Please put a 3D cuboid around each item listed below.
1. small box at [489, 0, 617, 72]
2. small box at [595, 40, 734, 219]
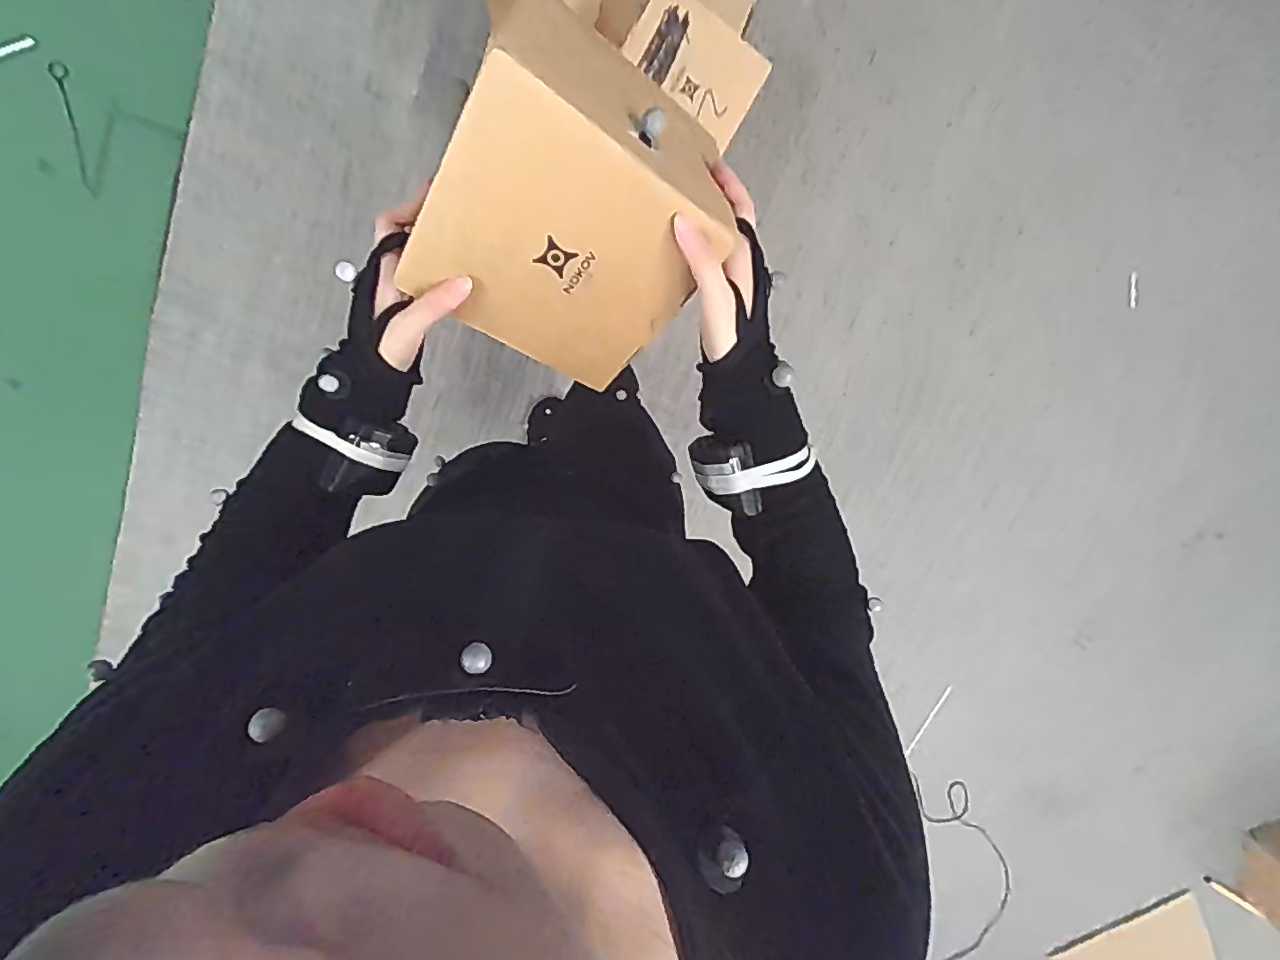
[{"bbox_3d":[-0.127,-0.788,0.849,0.179,0.176,0.168,20,102,-11],"label":"small box"},{"bbox_3d":[0.030,-0.581,0.926,0.168,0.176,0.179,25,102,-14],"label":"small box"}]
